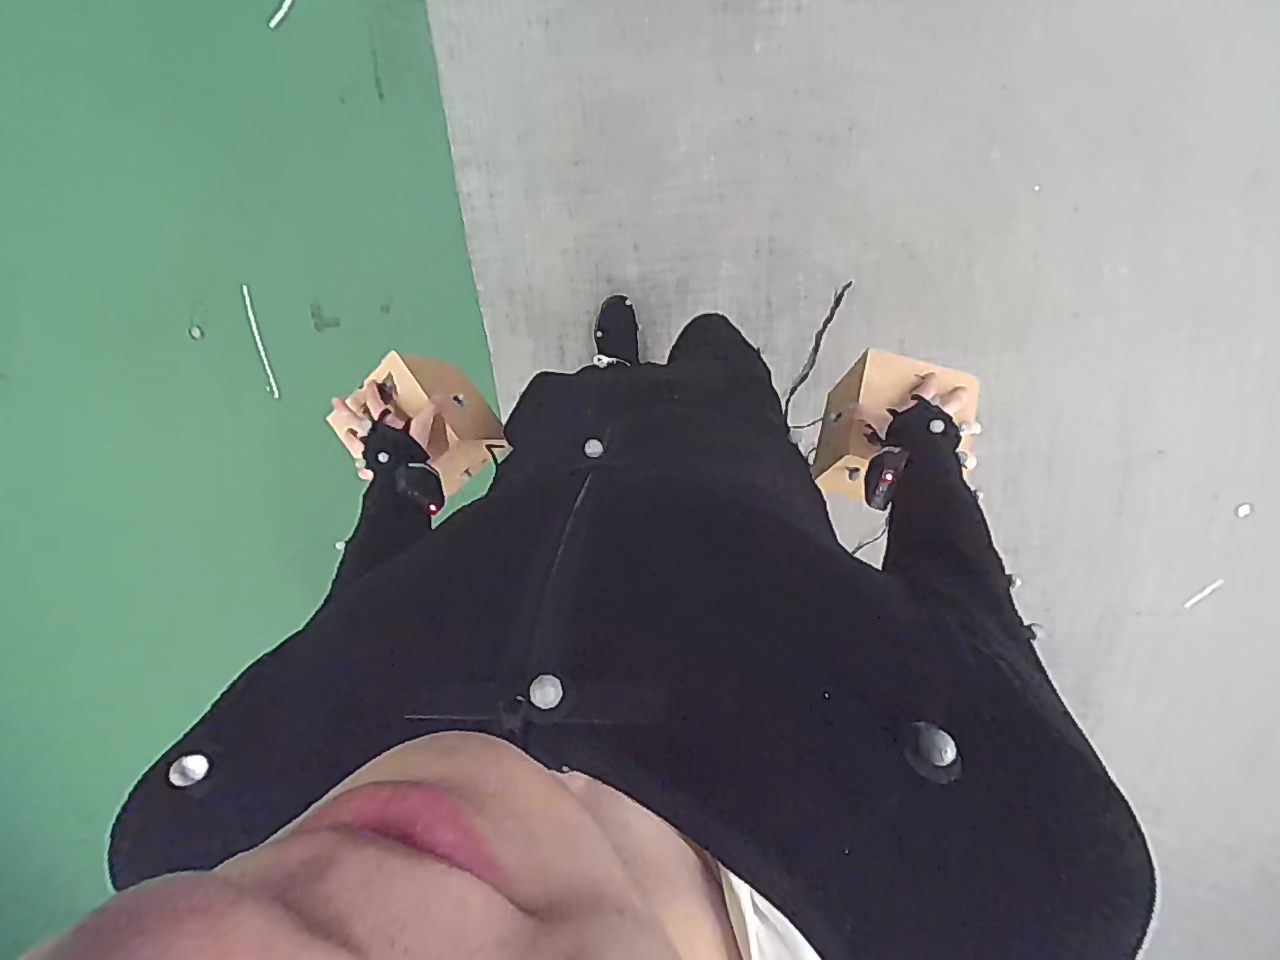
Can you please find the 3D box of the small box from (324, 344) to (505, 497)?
[{"bbox_3d":[-0.359,-0.092,0.888,0.168,0.176,0.179,-38,86,14],"label":"small box"}]
